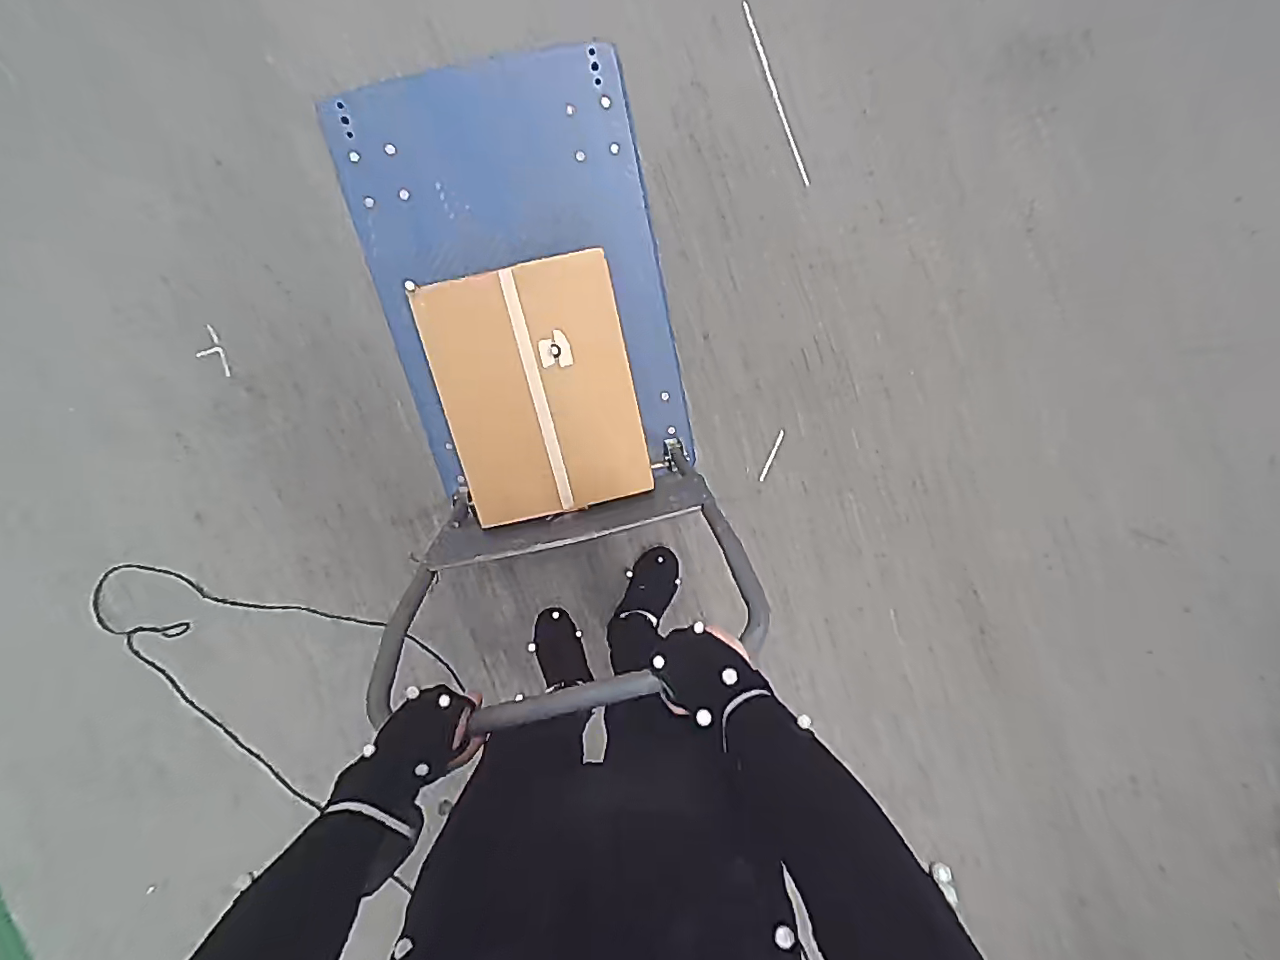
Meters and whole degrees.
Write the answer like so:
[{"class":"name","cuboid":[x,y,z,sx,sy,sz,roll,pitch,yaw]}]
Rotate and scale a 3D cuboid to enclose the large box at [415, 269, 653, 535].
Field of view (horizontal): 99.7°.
[{"class":"large box","cuboid":[-0.177,-0.156,1.057,0.320,0.320,0.408,-13,105,-1]}]
